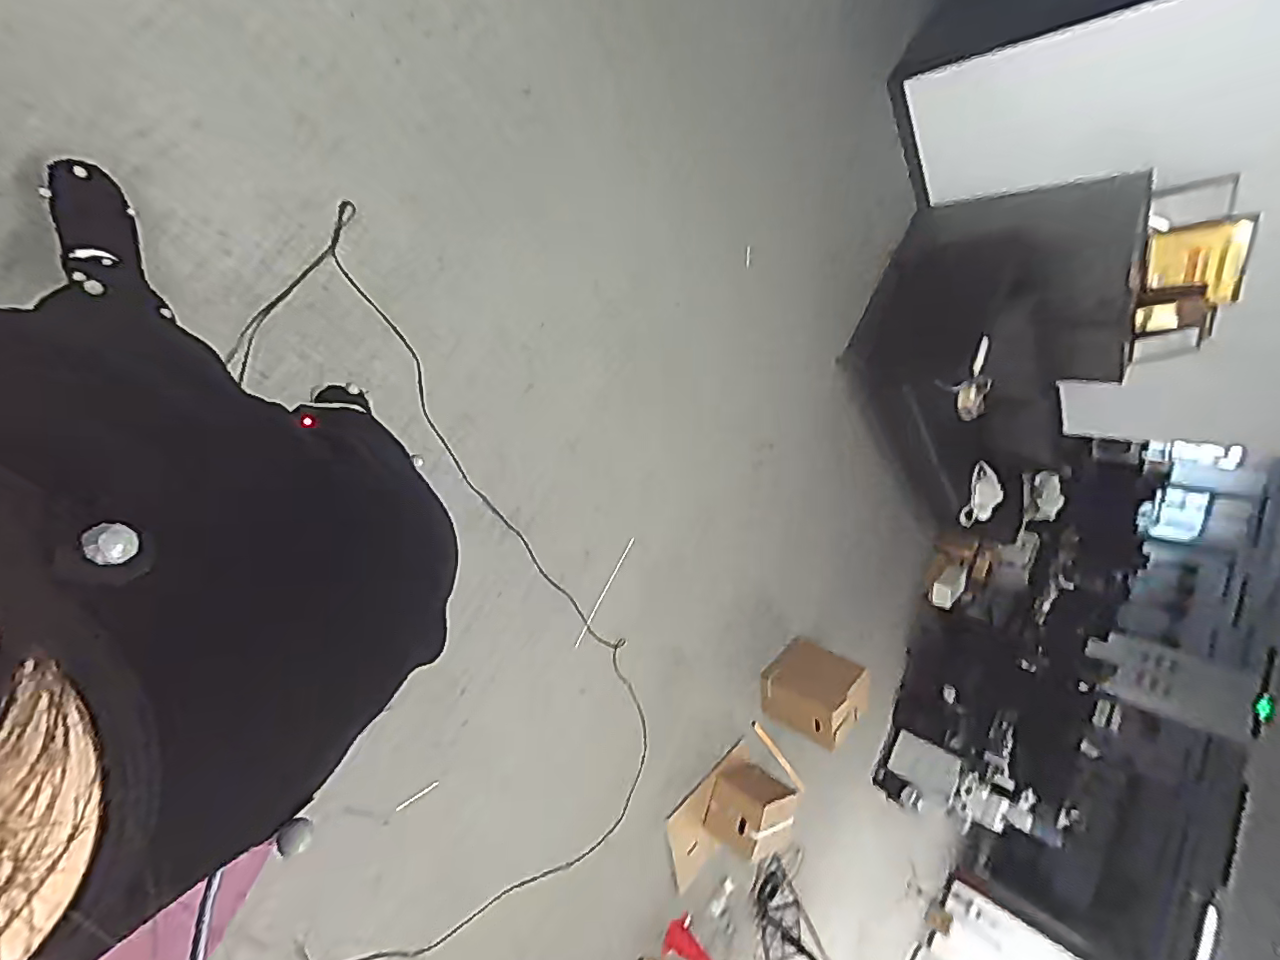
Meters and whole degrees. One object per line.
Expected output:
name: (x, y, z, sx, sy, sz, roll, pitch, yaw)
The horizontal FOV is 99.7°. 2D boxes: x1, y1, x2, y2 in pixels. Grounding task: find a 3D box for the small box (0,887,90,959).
small box: (-0.669, 0.516, 0.499, 0.179, 0.176, 0.168, 40, 74, -42)
